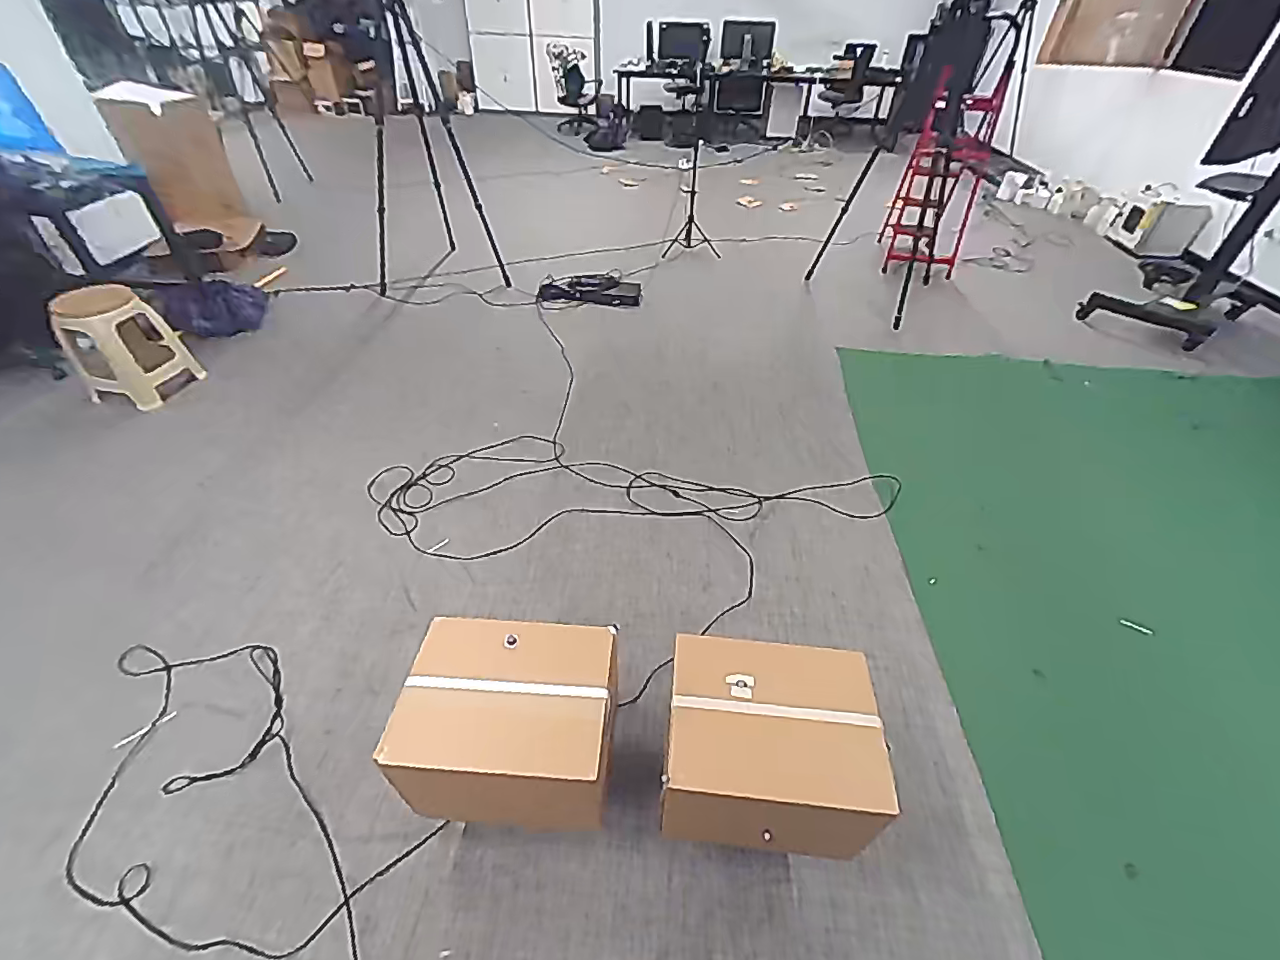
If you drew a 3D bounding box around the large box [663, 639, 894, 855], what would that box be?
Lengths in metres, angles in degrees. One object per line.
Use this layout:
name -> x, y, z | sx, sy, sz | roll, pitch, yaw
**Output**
large box -> 0.264, 0.574, 1.164 | 0.408, 0.320, 0.320 | 5, 42, 4
